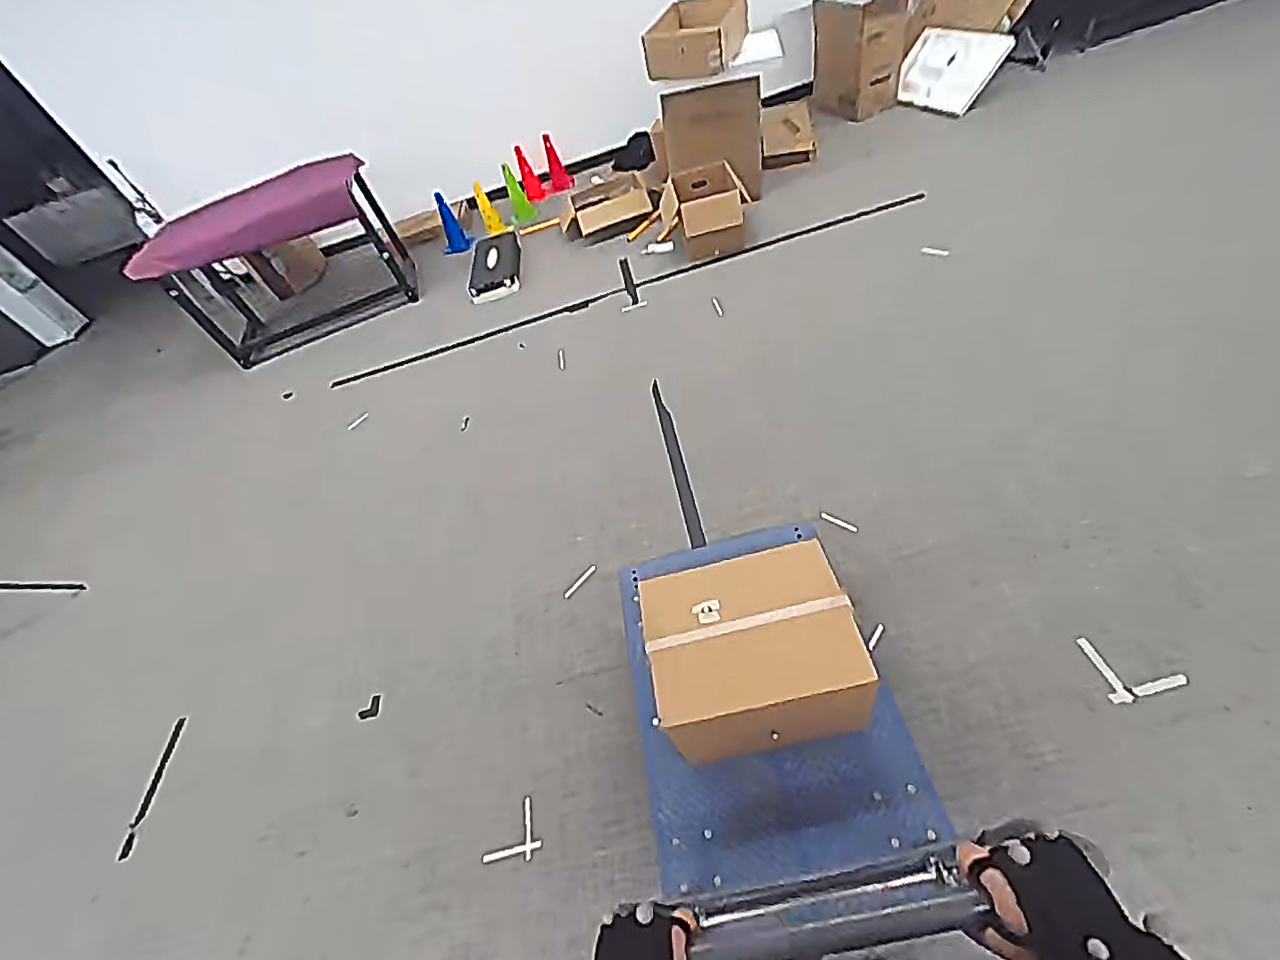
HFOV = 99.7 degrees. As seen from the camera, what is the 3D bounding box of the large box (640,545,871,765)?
[{"bbox_3d":[0.248,0.397,1.205,0.408,0.320,0.320,-16,47,6],"label":"large box"}]
